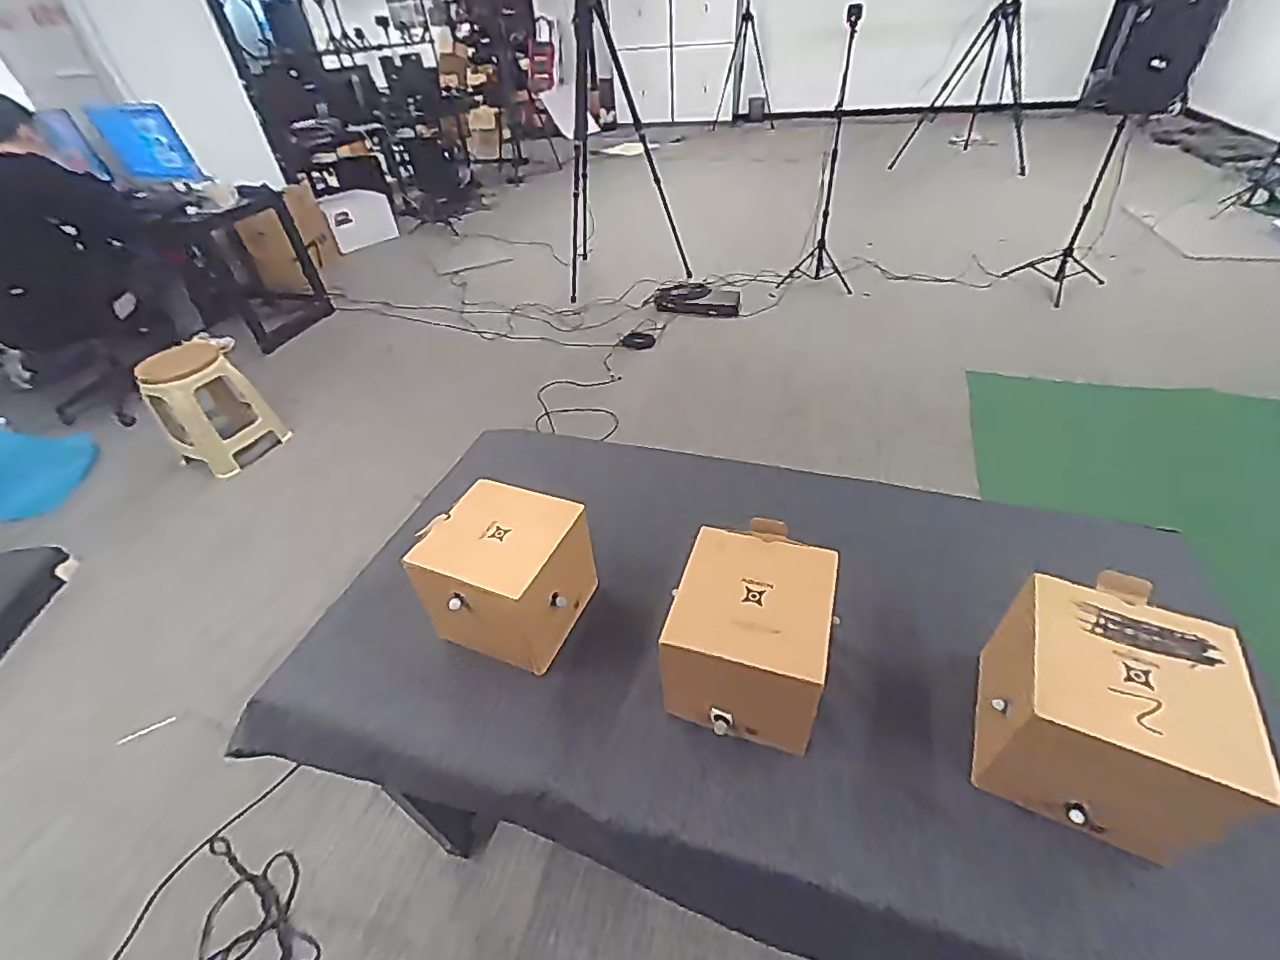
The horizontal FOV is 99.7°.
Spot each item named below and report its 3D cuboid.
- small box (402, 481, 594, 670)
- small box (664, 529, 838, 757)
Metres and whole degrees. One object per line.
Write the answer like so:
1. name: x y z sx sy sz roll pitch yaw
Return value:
1. small box: -0.177 0.131 0.737 0.179 0.176 0.168 13 43 20
2. small box: 0.131 0.189 0.642 0.168 0.176 0.179 9 43 17
